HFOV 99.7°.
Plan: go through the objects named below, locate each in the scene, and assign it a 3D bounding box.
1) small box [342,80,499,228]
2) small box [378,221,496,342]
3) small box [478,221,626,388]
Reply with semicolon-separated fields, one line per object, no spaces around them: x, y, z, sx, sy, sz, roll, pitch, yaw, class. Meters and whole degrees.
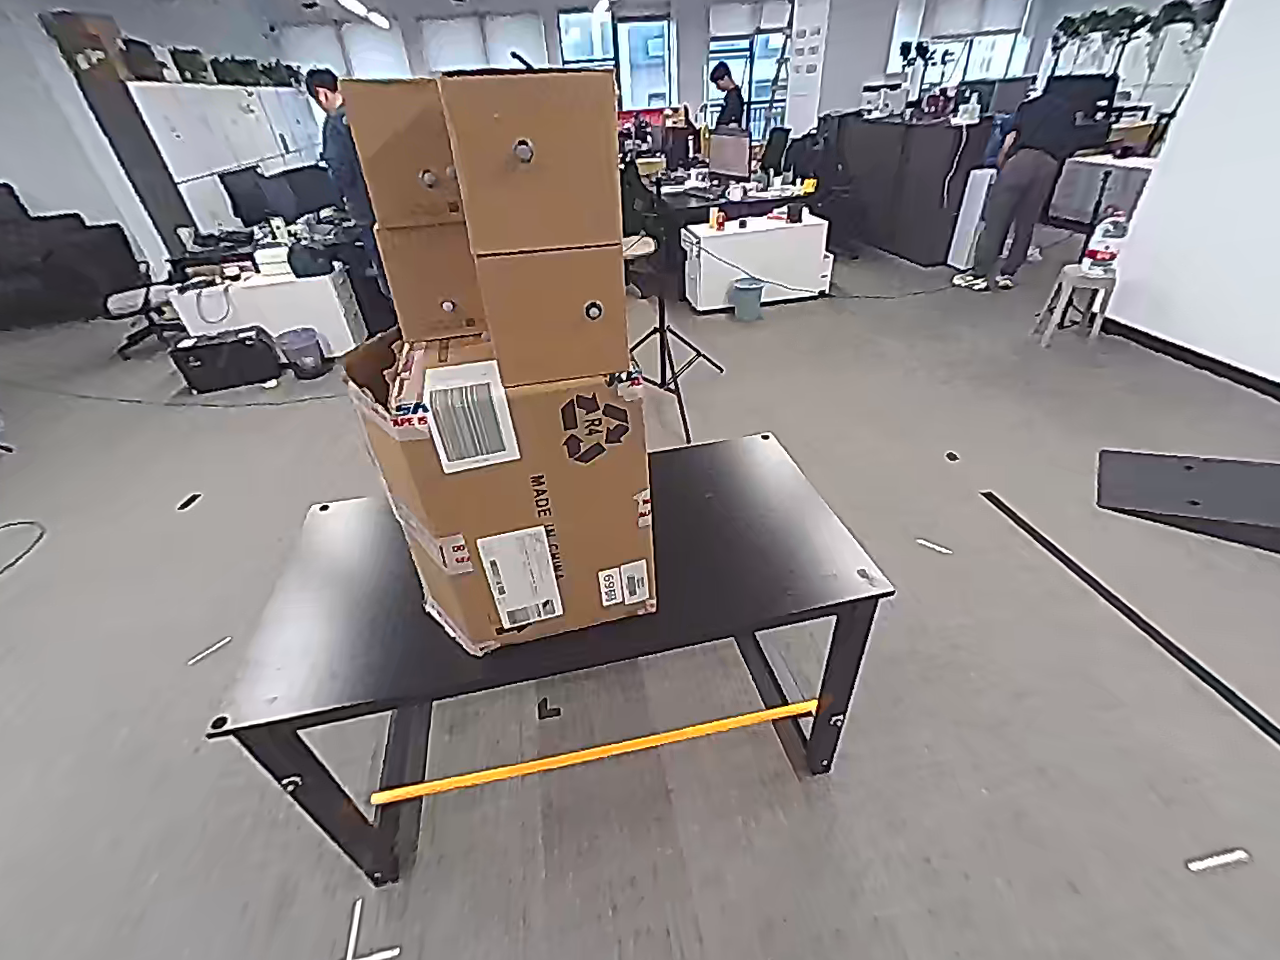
-0.311;-0.473;0.791;0.168;0.176;0.179;-13;35;-14;small box
-0.313;-0.340;0.889;0.168;0.176;0.179;-11;35;-12;small box
-0.117;-0.244;0.746;0.179;0.176;0.168;-10;36;-9;small box
